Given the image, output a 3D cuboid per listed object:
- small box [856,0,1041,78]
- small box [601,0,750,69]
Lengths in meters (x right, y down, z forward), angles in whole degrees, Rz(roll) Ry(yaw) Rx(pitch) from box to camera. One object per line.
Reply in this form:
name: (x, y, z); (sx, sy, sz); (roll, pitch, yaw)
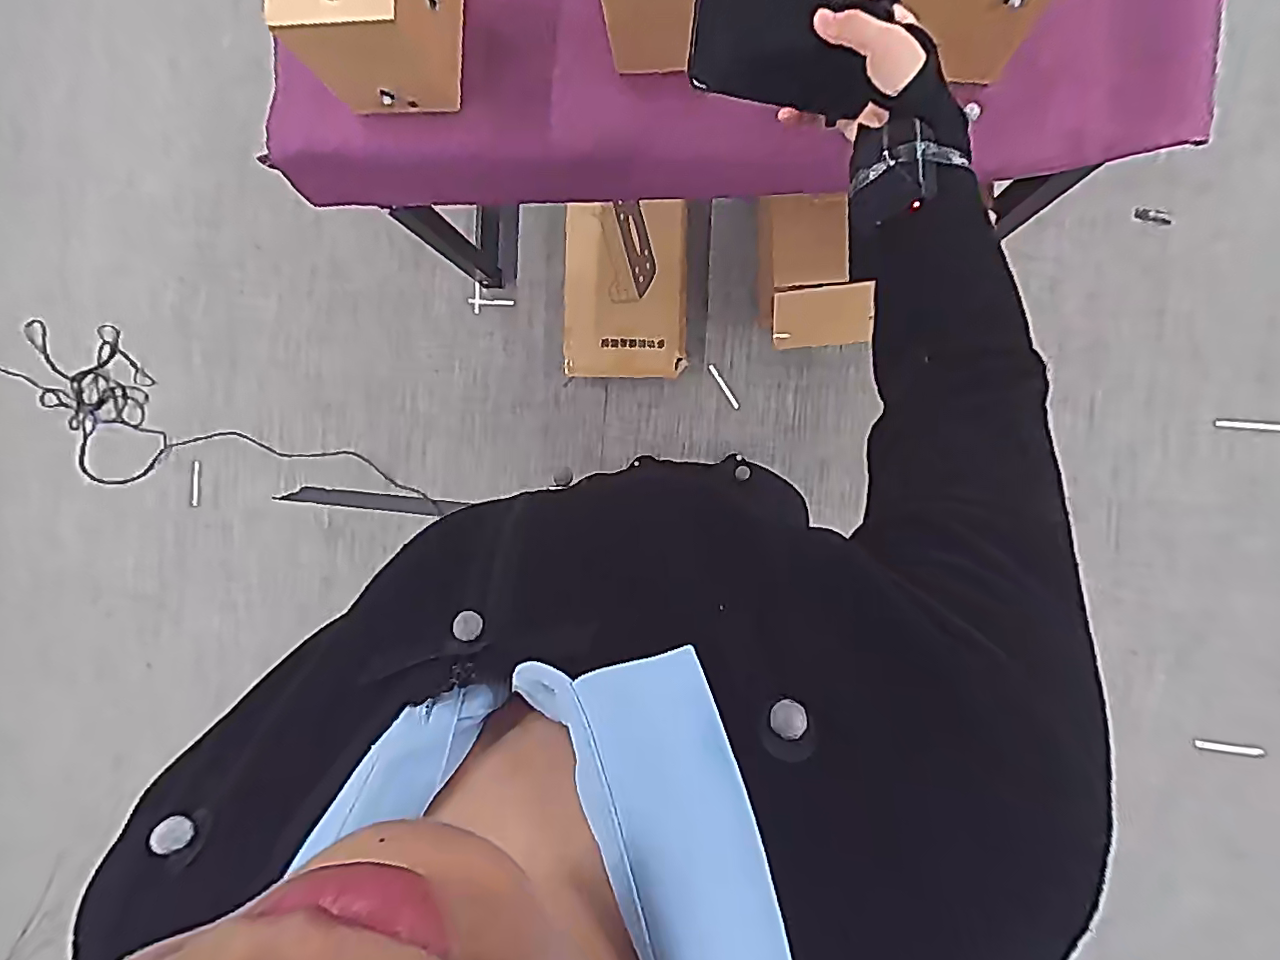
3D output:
small box: (0.362, -0.595, 0.609); (0.179, 0.176, 0.168); (10, 93, 6)
small box: (0.047, -0.632, 0.644); (0.179, 0.176, 0.168); (2, 90, 7)
